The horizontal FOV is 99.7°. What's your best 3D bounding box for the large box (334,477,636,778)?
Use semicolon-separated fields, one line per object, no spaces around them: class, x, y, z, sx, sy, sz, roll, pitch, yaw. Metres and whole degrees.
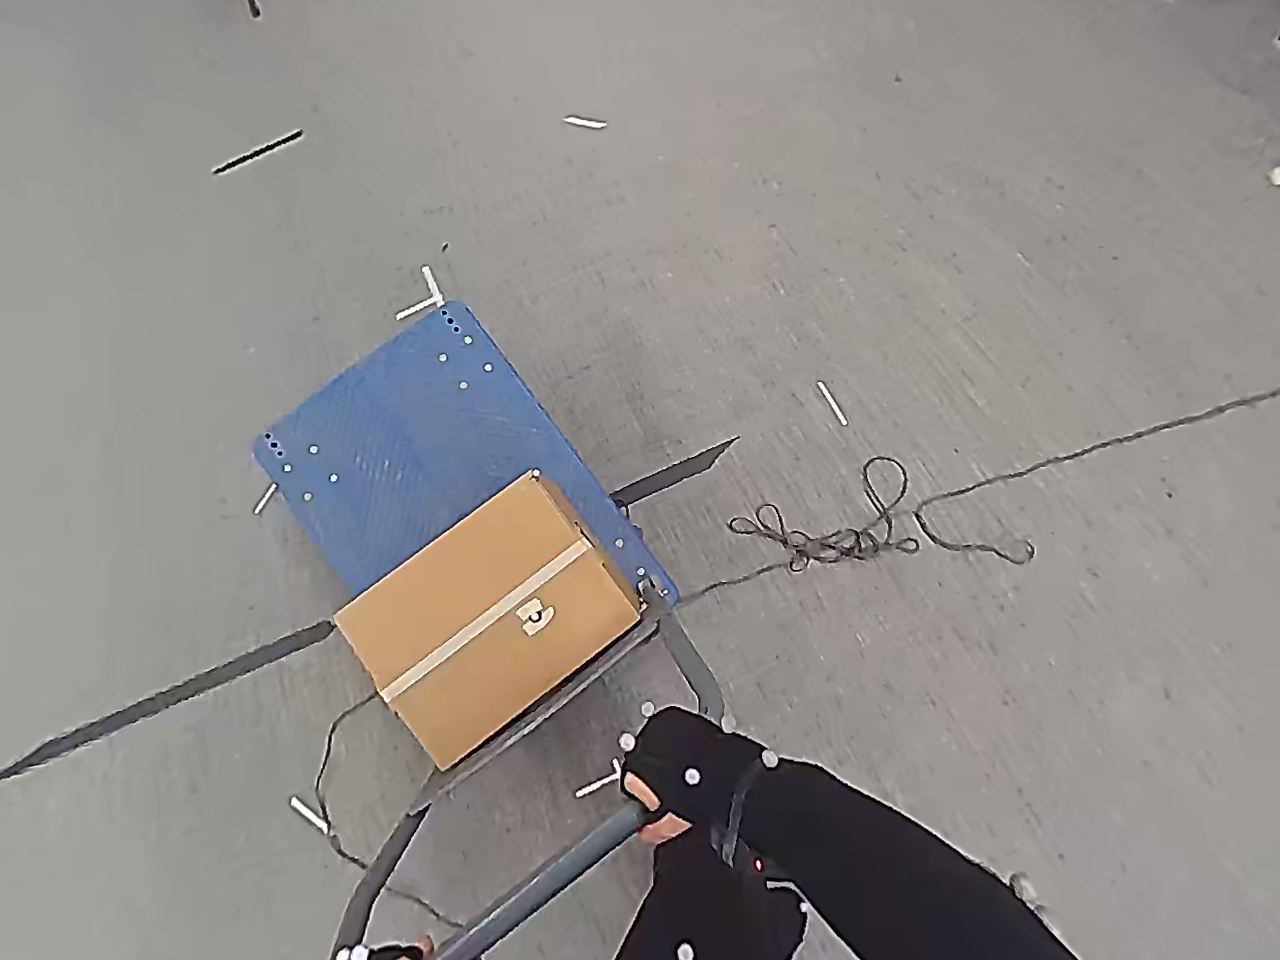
large box;-0.257;0.251;1.027;0.408;0.320;0.320;-38;87;-5
